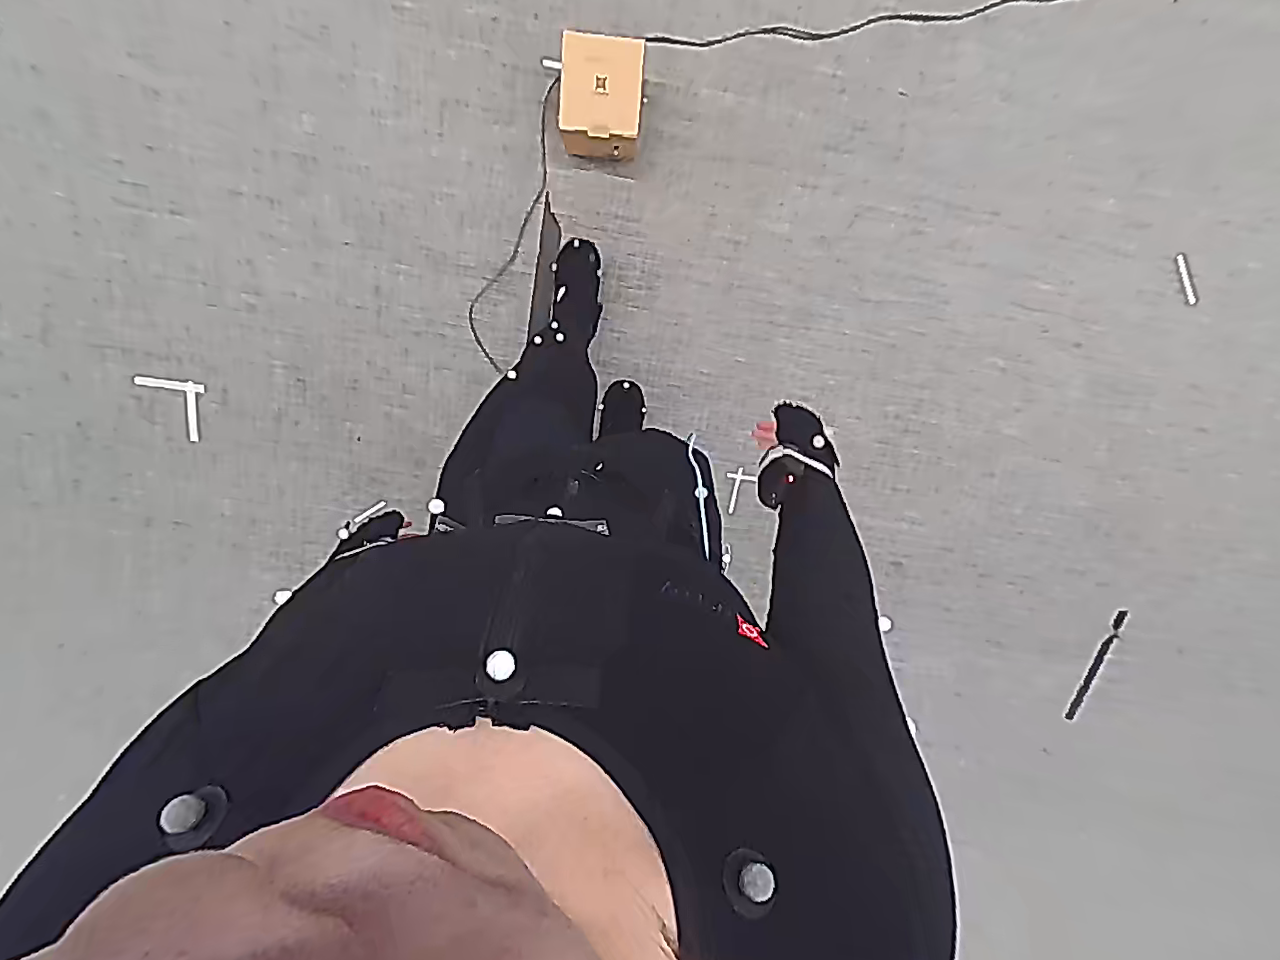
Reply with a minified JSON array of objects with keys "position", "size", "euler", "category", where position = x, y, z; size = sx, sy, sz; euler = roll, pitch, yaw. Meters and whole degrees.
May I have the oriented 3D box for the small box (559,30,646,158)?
[{"position":[-0.079,-0.823,1.173],"size":[0.168,0.176,0.179],"euler":[5,105,-3],"category":"small box"}]
